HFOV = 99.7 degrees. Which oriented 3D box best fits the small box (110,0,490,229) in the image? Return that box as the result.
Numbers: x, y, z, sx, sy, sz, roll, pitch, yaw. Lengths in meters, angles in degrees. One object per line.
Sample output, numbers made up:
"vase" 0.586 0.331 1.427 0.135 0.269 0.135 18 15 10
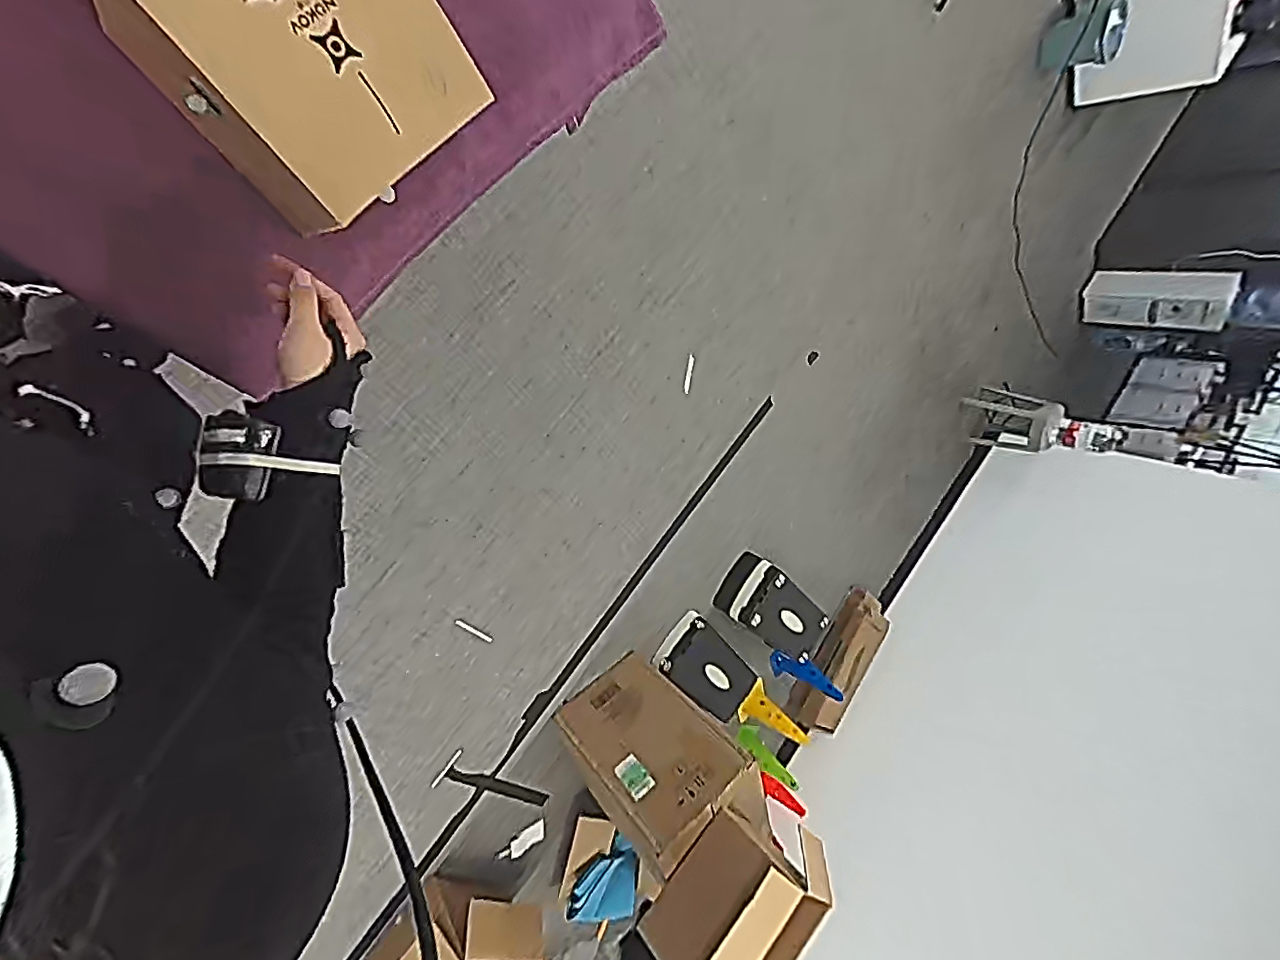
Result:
"small box" -0.262 -0.321 0.423 0.168 0.176 0.179 -50 132 -14
